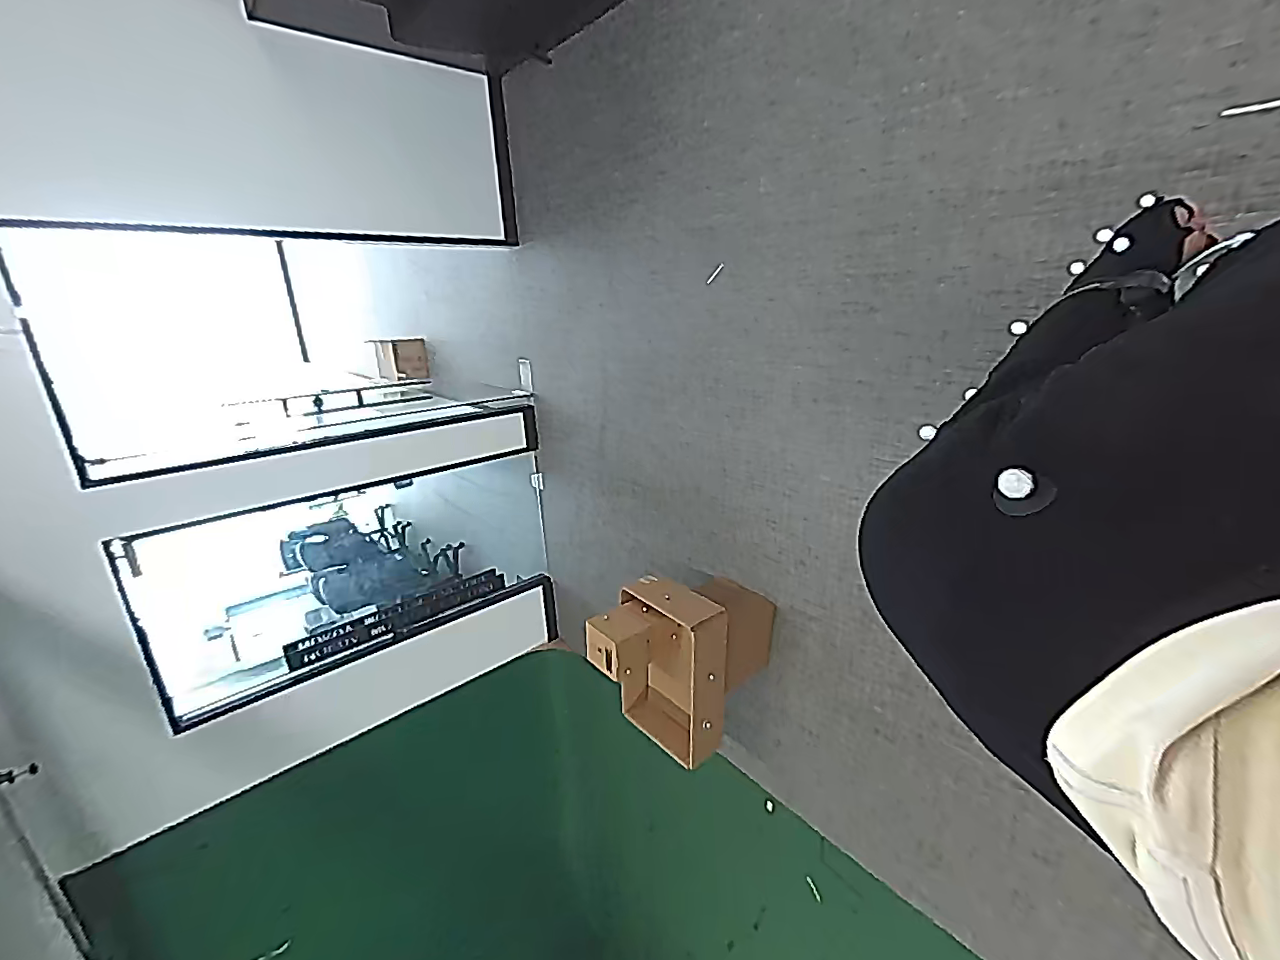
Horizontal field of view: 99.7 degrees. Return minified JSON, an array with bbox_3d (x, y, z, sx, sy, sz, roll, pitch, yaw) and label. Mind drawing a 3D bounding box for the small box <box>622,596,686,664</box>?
[{"bbox_3d":[0.051,0.559,2.051,0.179,0.176,0.168,20,117,45],"label":"small box"}]
